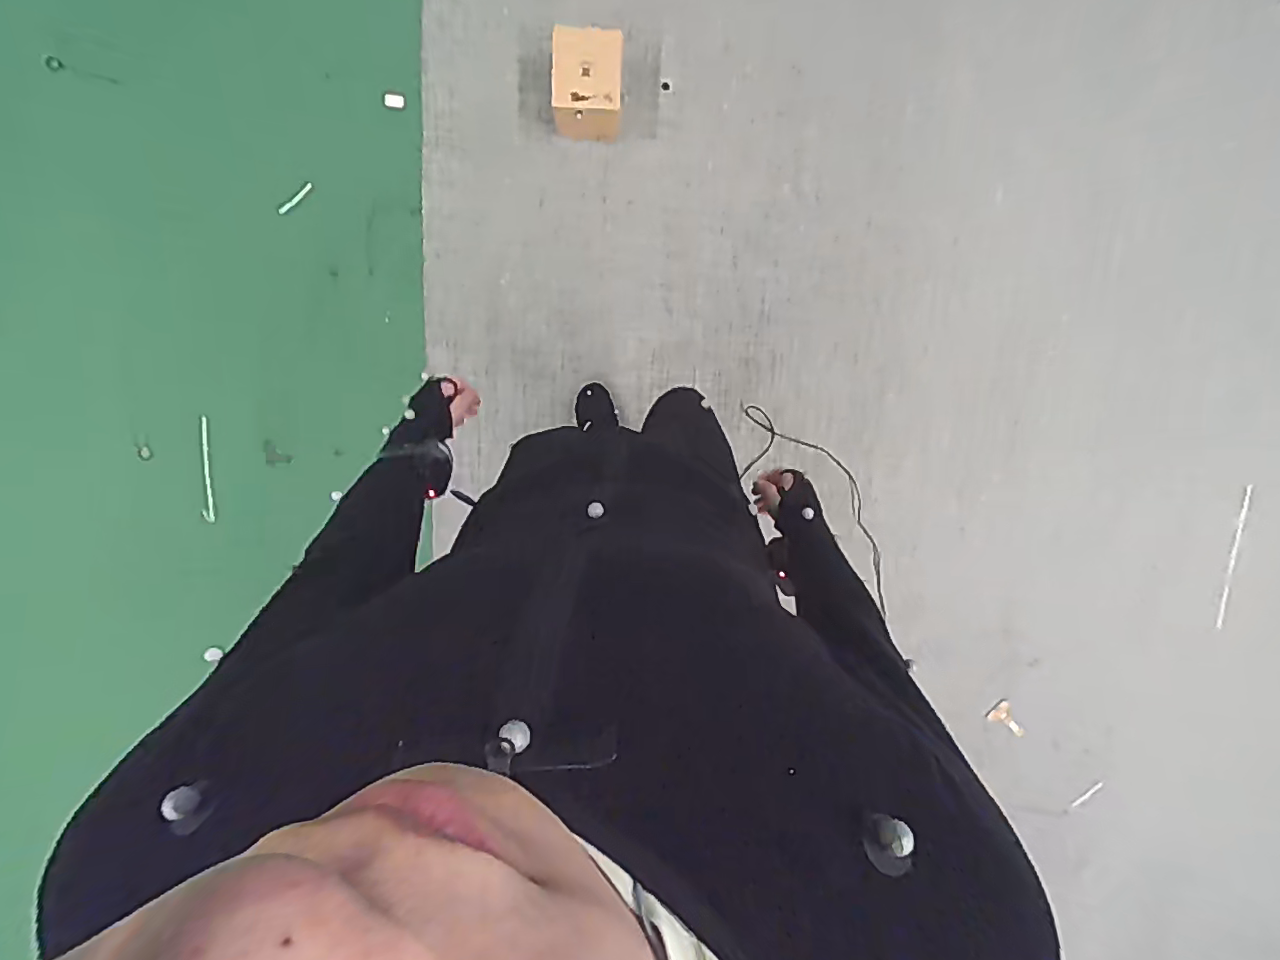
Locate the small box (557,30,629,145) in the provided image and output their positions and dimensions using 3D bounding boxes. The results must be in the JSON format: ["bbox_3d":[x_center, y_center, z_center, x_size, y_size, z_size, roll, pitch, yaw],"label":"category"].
[{"bbox_3d":[-0.115,-0.985,1.369,0.168,0.176,0.179,3,99,0],"label":"small box"}]
